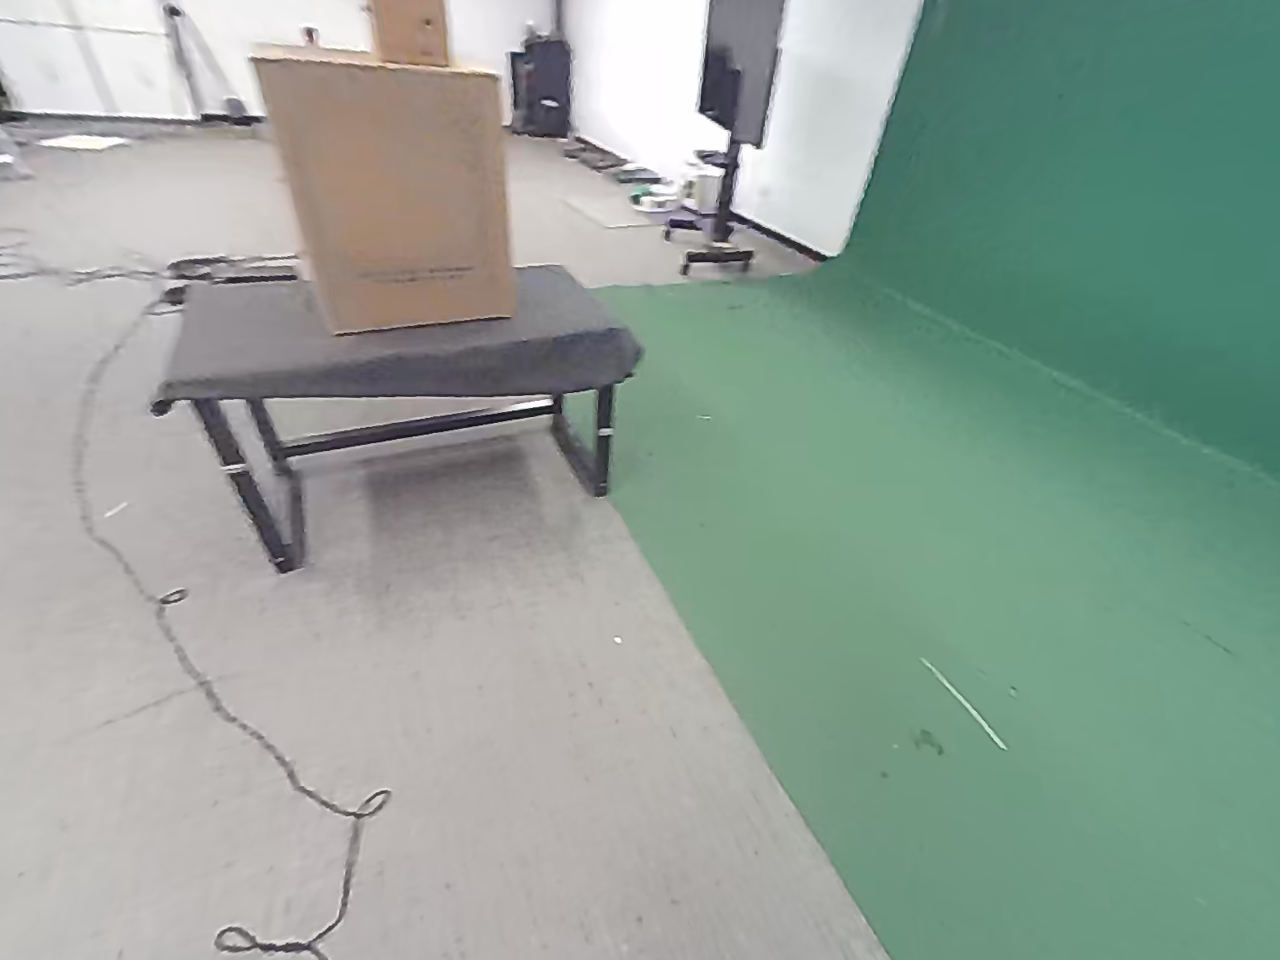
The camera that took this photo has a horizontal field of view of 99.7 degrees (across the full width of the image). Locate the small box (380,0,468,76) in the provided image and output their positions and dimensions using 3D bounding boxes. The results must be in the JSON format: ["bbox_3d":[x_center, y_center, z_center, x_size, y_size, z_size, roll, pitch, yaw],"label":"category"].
[{"bbox_3d":[-0.513,-1.076,1.284,0.168,0.176,0.179,-12,43,-24],"label":"small box"}]
